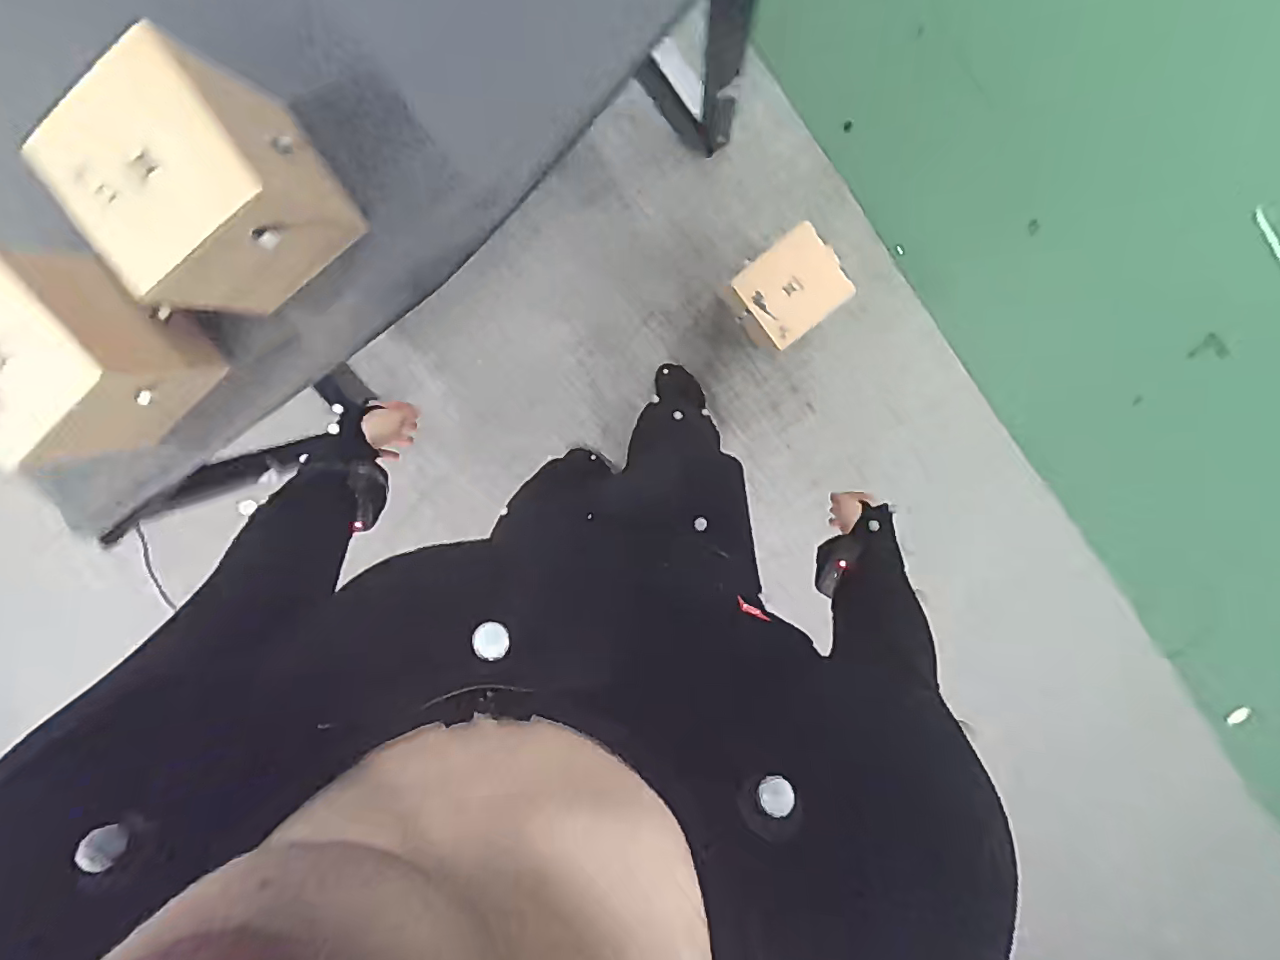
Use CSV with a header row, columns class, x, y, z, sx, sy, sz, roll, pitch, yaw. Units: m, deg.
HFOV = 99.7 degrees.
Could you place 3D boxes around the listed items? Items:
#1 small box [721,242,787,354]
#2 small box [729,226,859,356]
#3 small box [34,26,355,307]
class,x,y,z,sx,sy,sz,roll,pitch,yaw
small box,0.304,-0.410,1.239,0.168,0.176,0.179,-38,97,12
small box,0.295,-0.369,1.079,0.179,0.176,0.168,-35,100,12
small box,-0.441,-0.304,0.573,0.179,0.176,0.168,-31,98,13
